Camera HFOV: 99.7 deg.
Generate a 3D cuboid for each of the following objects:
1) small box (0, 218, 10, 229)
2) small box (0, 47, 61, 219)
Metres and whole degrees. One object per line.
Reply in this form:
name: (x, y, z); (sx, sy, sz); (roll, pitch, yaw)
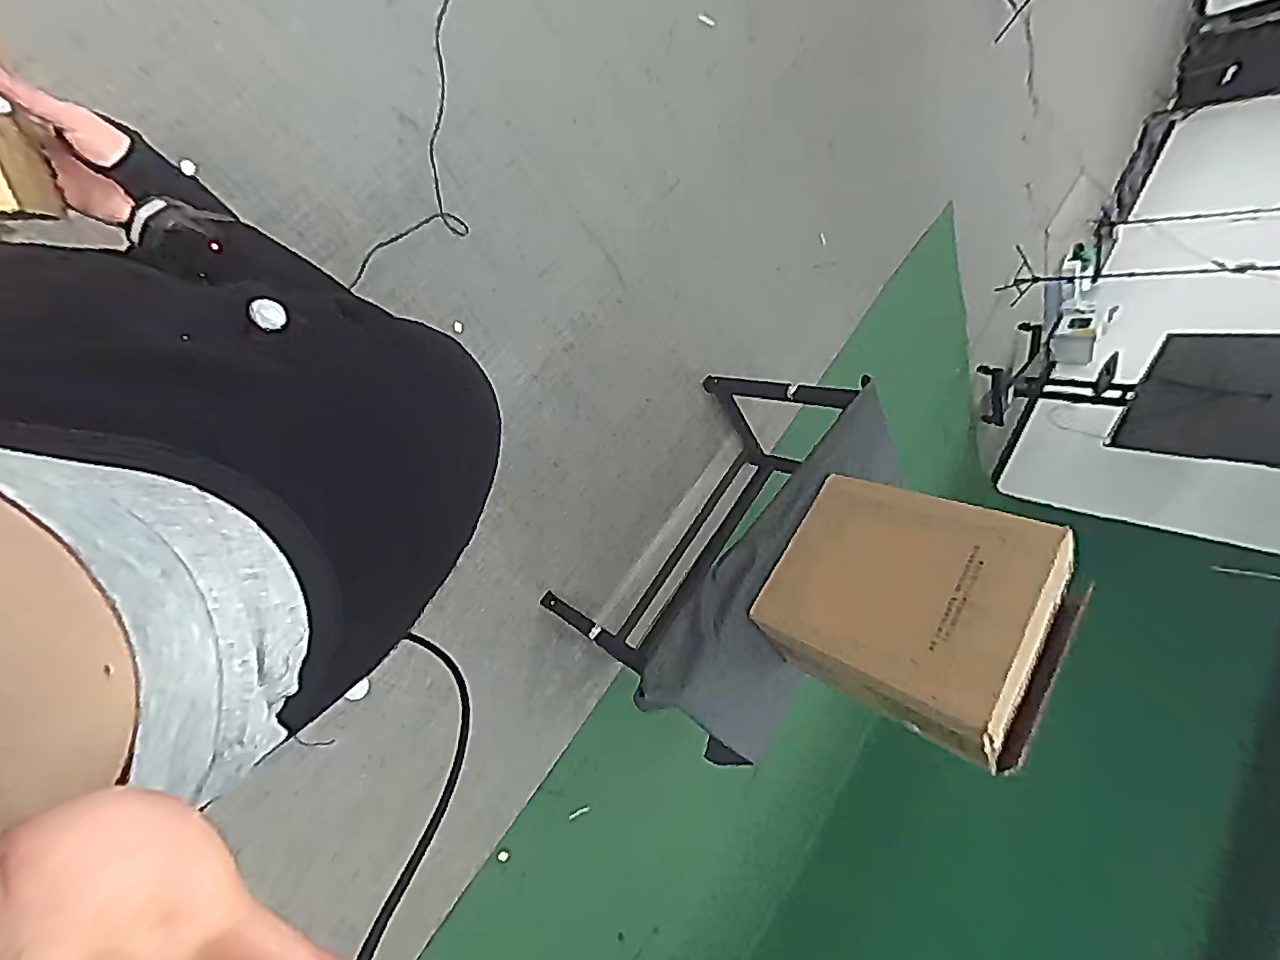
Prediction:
small box: (-1.048, -0.445, 0.752); (0.168, 0.176, 0.179); (-25, 122, -34)
small box: (-0.538, -0.259, 0.344); (0.179, 0.176, 0.168); (-18, 121, -30)
